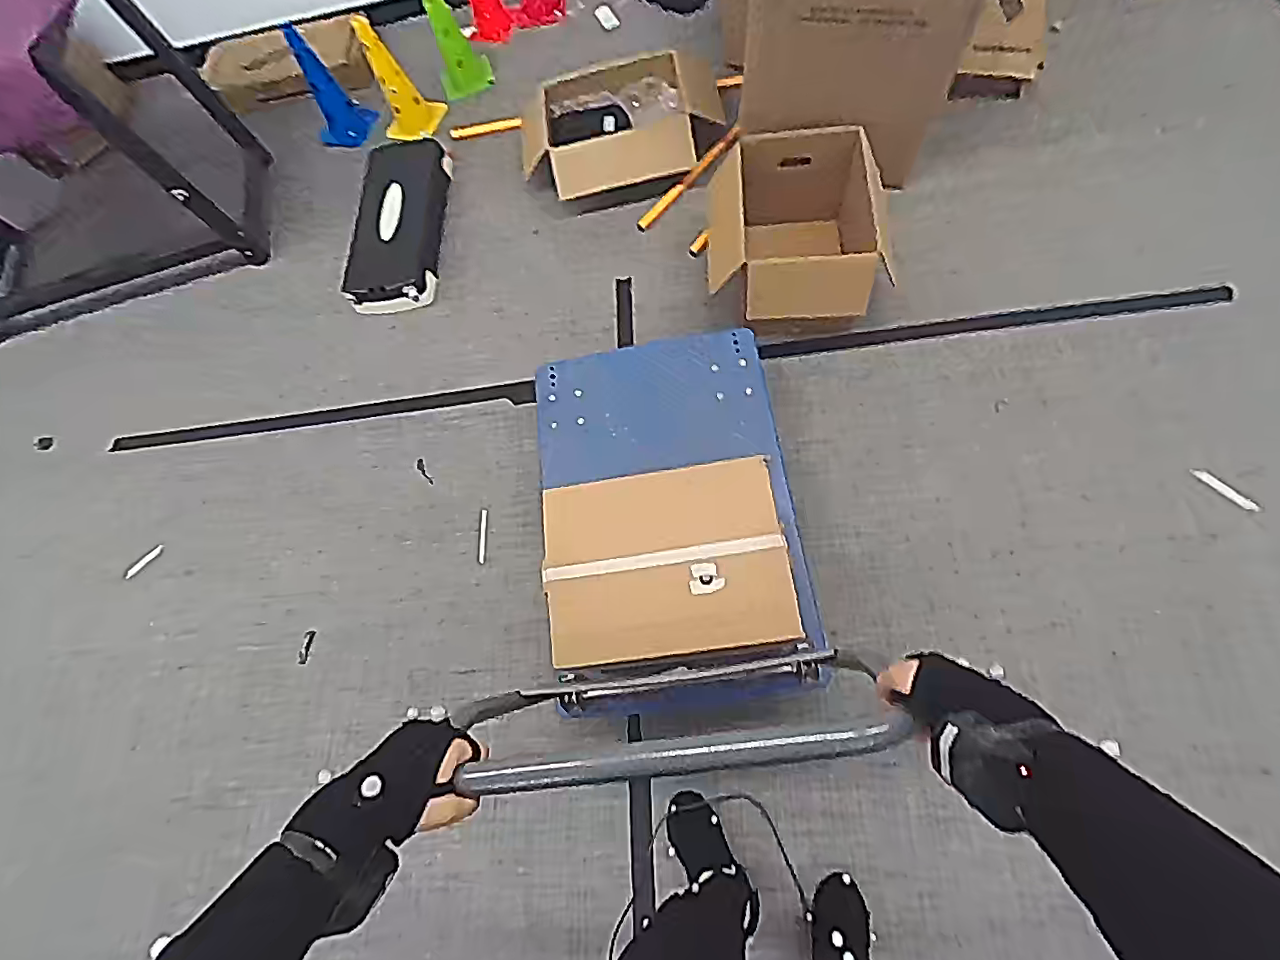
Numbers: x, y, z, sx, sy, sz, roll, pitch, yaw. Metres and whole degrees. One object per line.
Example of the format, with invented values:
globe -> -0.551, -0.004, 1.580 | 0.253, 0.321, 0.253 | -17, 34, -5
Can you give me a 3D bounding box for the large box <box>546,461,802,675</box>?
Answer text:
large box -> 0.060, 0.191, 1.054 | 0.408, 0.320, 0.320 | -9, 70, 4
